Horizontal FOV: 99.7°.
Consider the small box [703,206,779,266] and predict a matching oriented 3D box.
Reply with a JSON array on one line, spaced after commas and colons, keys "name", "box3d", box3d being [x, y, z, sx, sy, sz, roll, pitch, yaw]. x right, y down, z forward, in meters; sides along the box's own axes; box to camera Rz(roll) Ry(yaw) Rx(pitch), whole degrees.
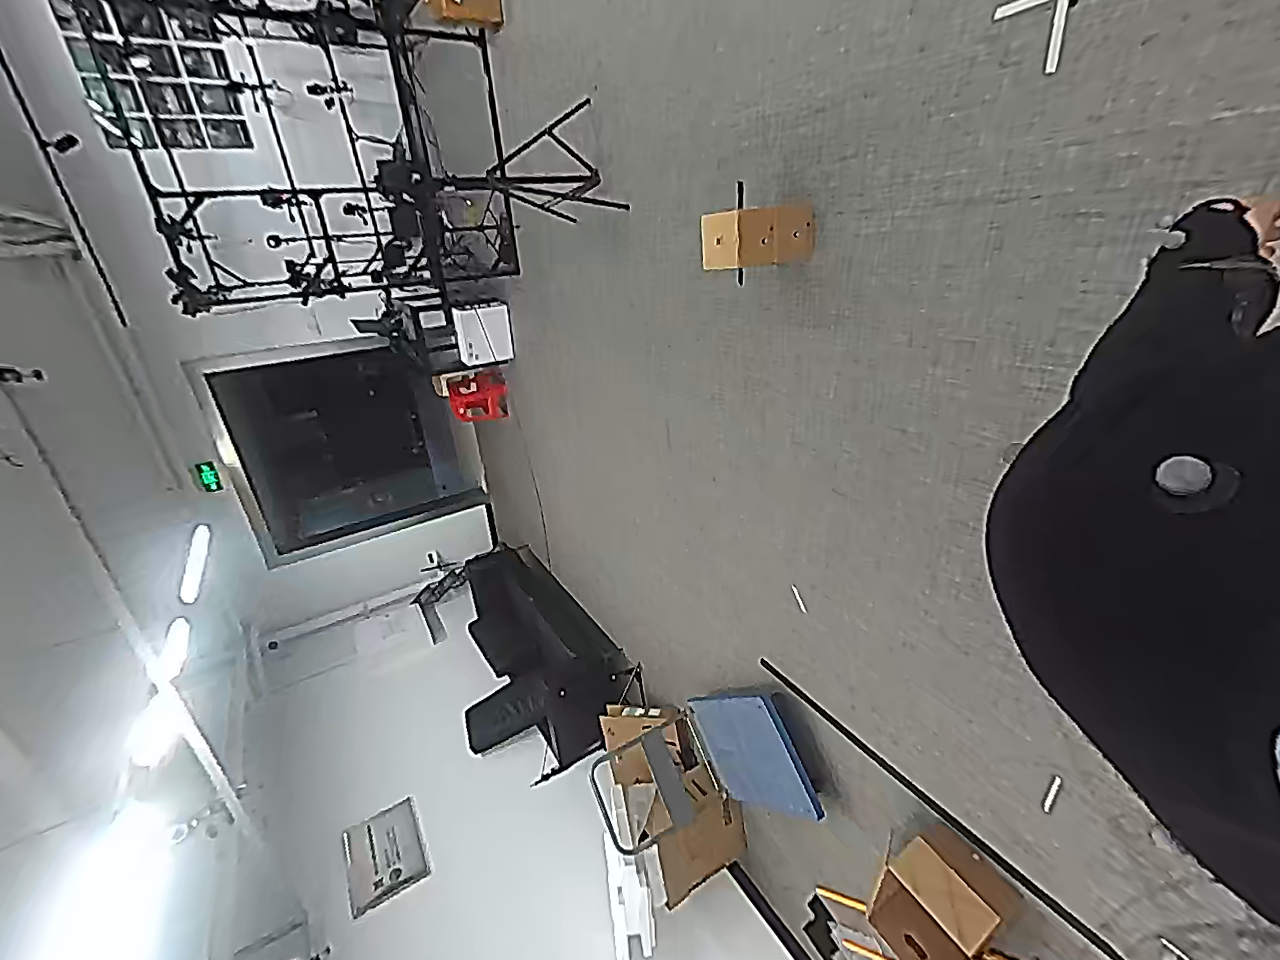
[{"name": "small box", "box3d": [0.323, -0.782, 1.739, 0.179, 0.176, 0.168, 28, 130, 53]}]

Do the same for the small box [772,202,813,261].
[{"name": "small box", "box3d": [0.461, -0.828, 1.812, 0.179, 0.176, 0.168, 28, 130, 54]}]
